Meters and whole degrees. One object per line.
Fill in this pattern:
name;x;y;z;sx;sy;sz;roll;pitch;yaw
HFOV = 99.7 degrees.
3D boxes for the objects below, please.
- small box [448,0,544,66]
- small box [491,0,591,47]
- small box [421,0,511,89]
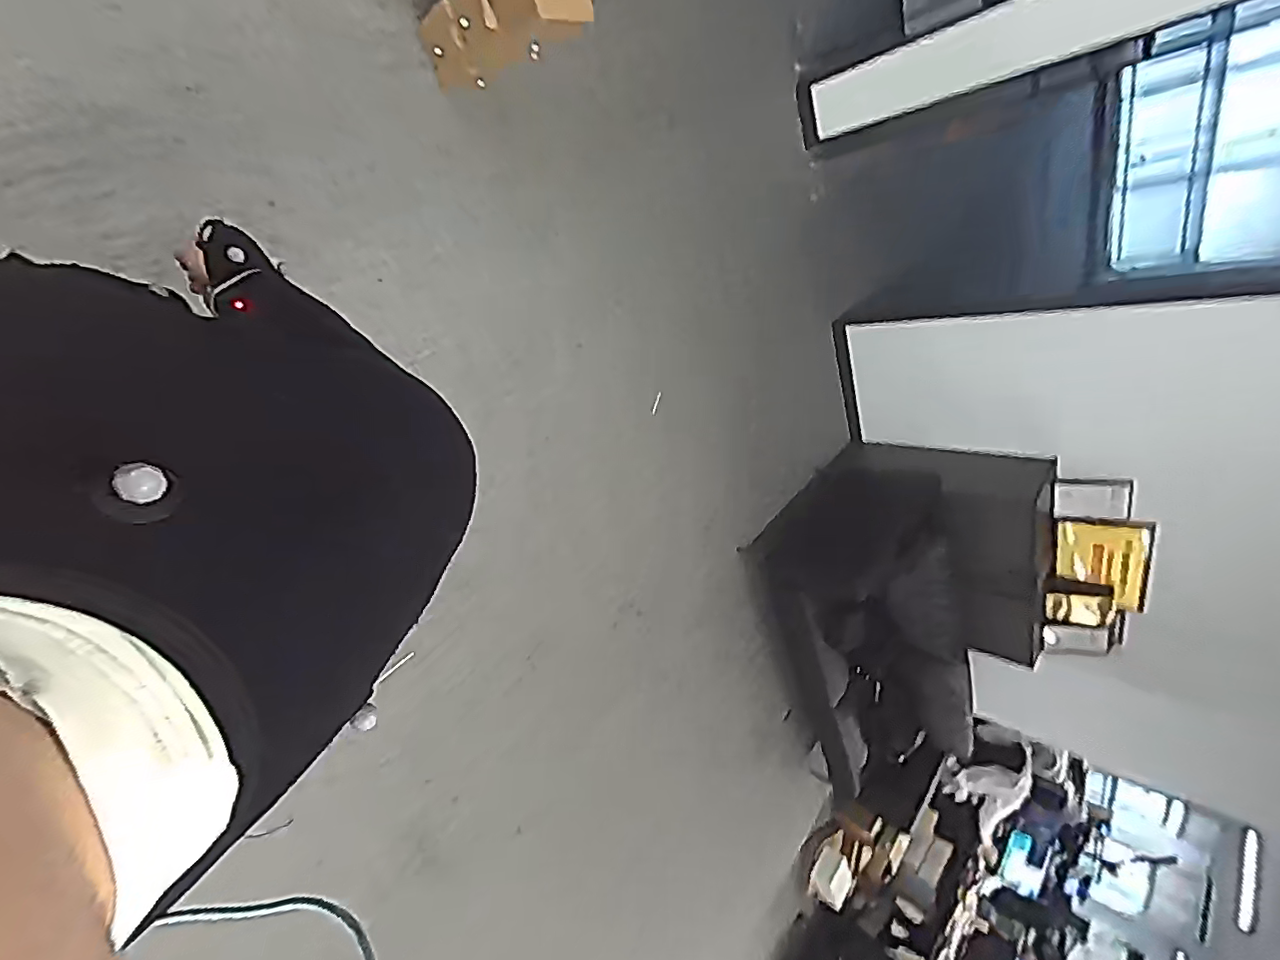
small box;-0.361;-1.194;1.386;0.179;0.176;0.168;-32;119;-35
small box;-0.247;-1.163;1.273;0.168;0.176;0.179;-32;119;-35
small box;-0.481;-1.213;1.497;0.179;0.176;0.168;-36;122;-33
